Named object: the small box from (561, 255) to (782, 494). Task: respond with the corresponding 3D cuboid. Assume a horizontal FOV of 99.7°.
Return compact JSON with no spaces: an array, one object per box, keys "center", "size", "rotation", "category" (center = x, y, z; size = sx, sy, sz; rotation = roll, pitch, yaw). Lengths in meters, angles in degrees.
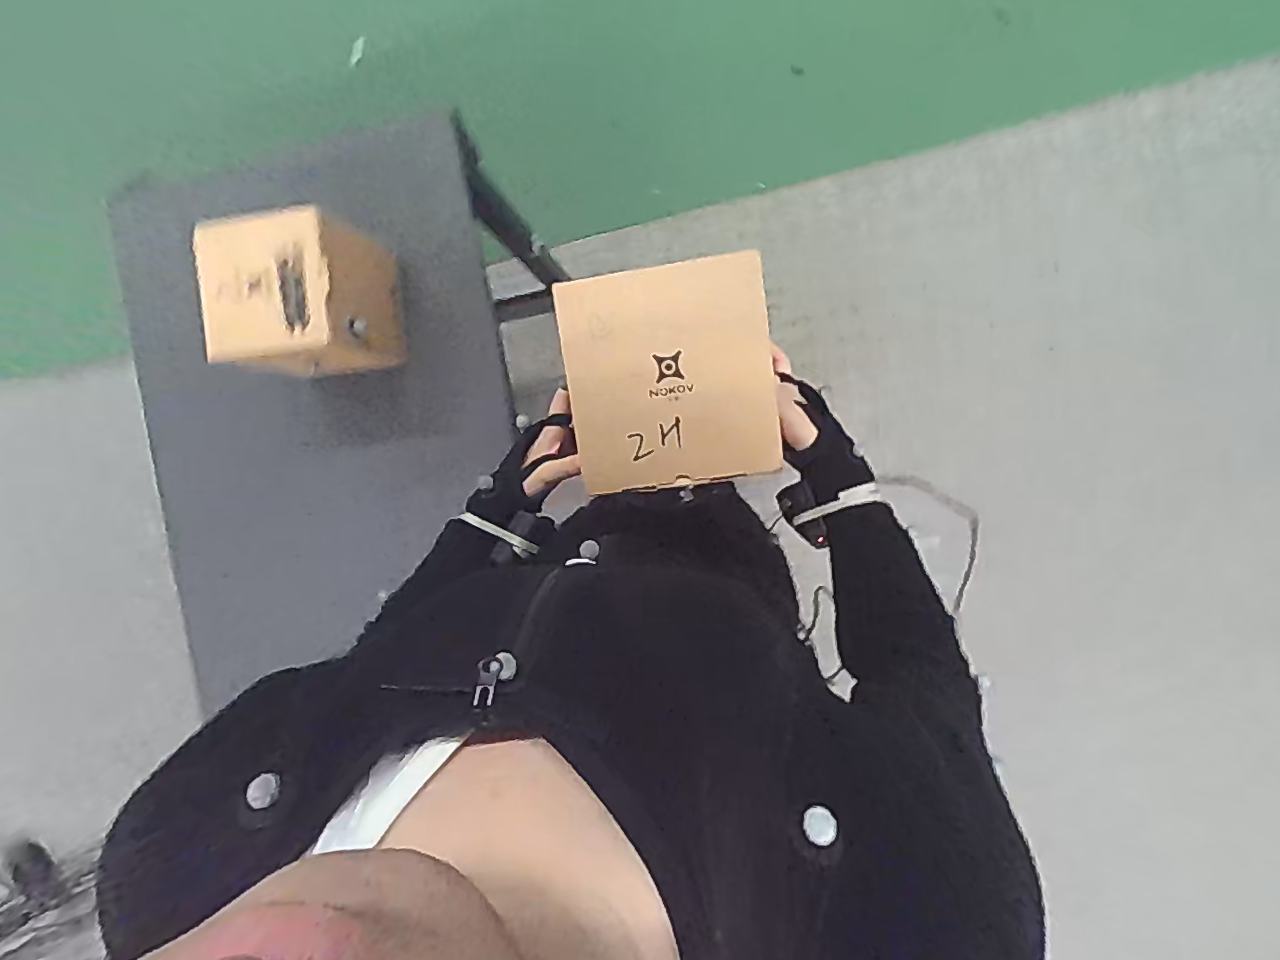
[{"center":[0.032,-0.090,0.513],"size":[0.168,0.176,0.179],"rotation":[-6,97,7],"category":"small box"}]
